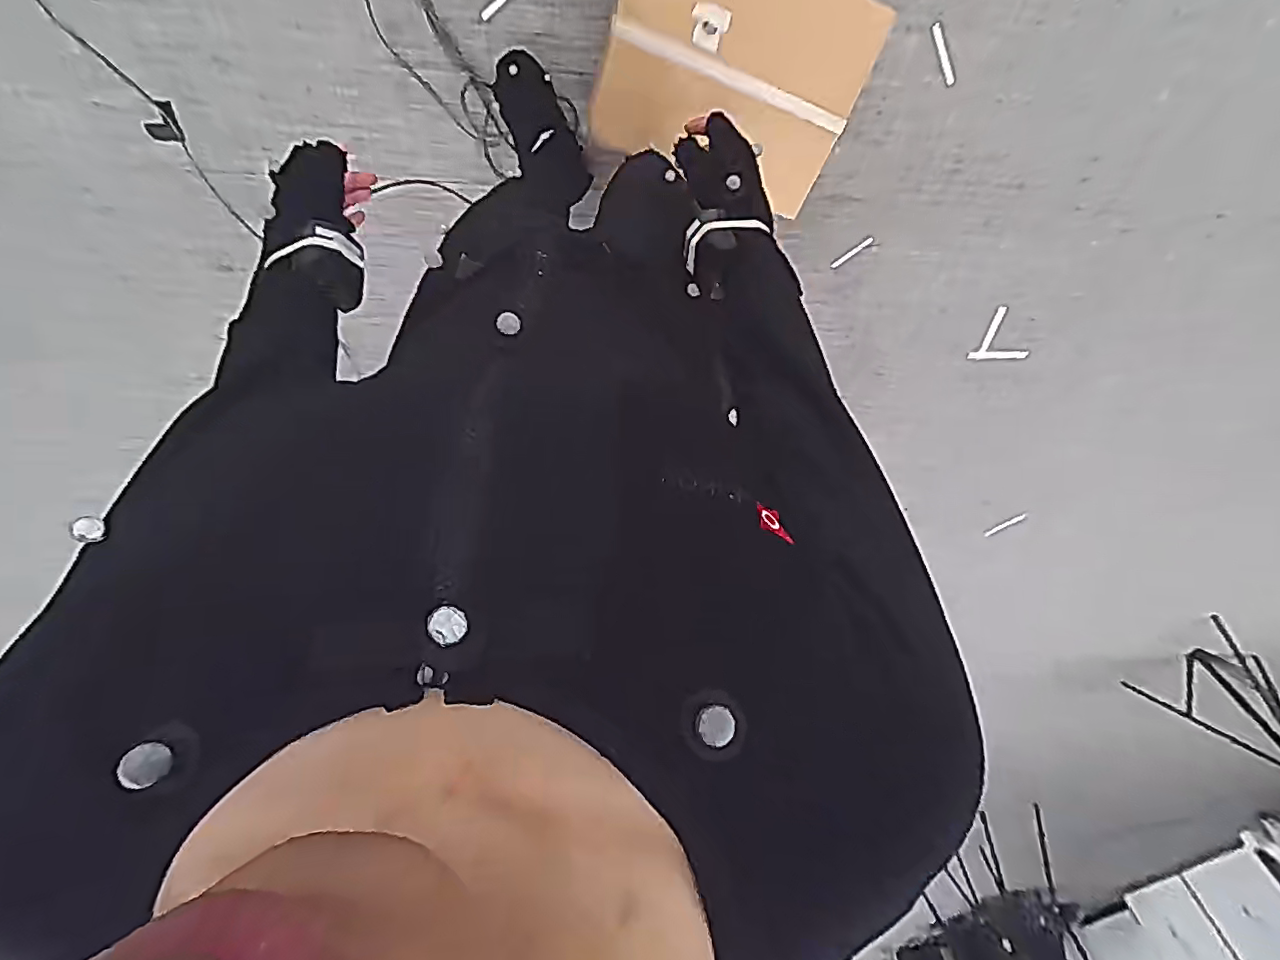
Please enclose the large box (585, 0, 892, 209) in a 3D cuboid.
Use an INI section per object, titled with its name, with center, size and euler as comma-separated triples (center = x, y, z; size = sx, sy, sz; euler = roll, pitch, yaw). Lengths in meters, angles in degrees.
[large box]
center = 0.144, -0.755, 0.968
size = 0.408, 0.320, 0.320
euler = 15, 129, -16
